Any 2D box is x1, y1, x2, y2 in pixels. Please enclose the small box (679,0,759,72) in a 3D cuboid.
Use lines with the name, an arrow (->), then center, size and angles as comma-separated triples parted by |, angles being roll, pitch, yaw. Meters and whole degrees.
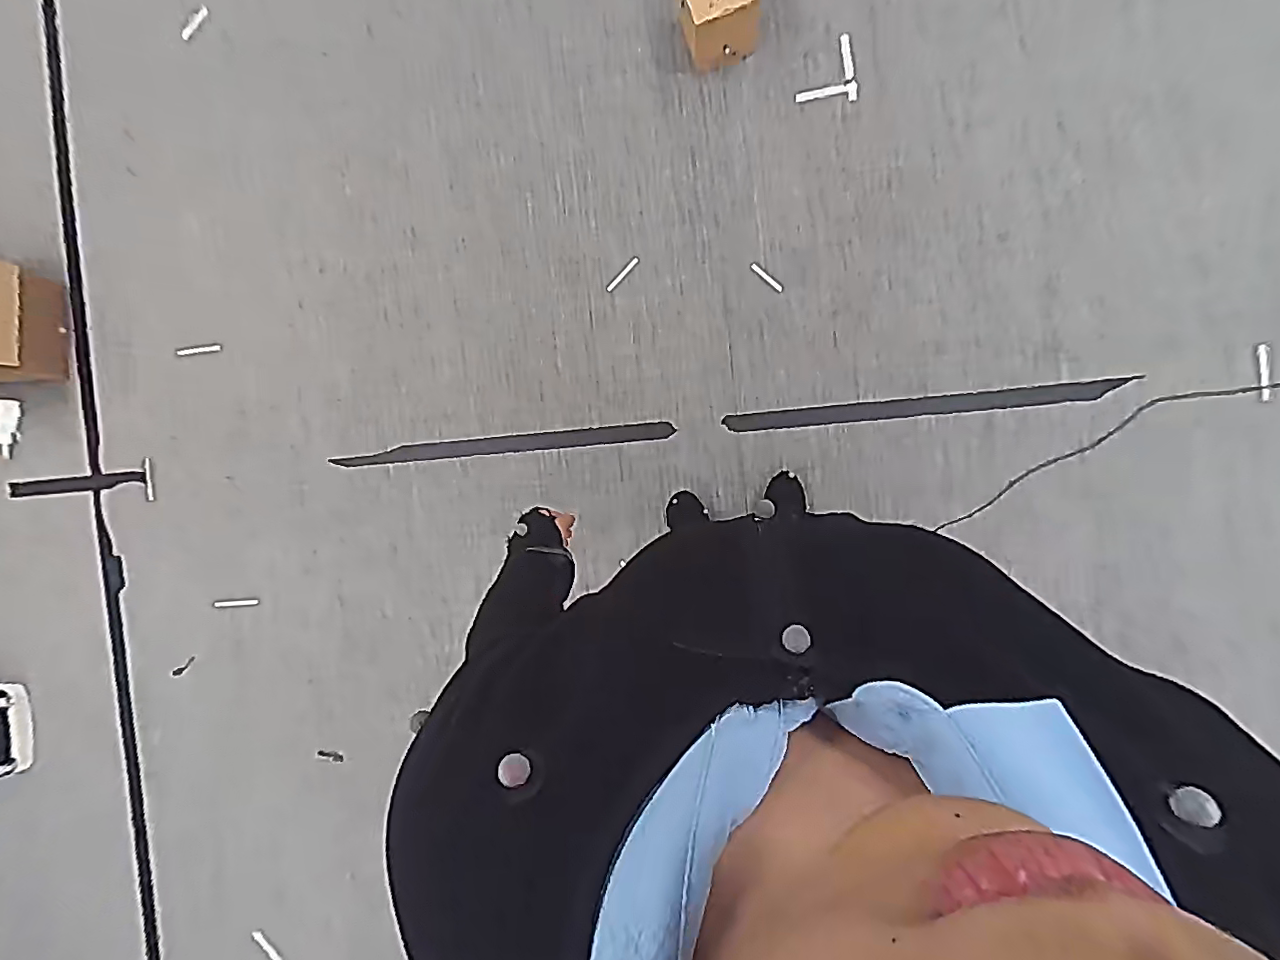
small box -> 0.198, -1.217, 1.393 | 0.168, 0.176, 0.179 | -18, 89, 8
